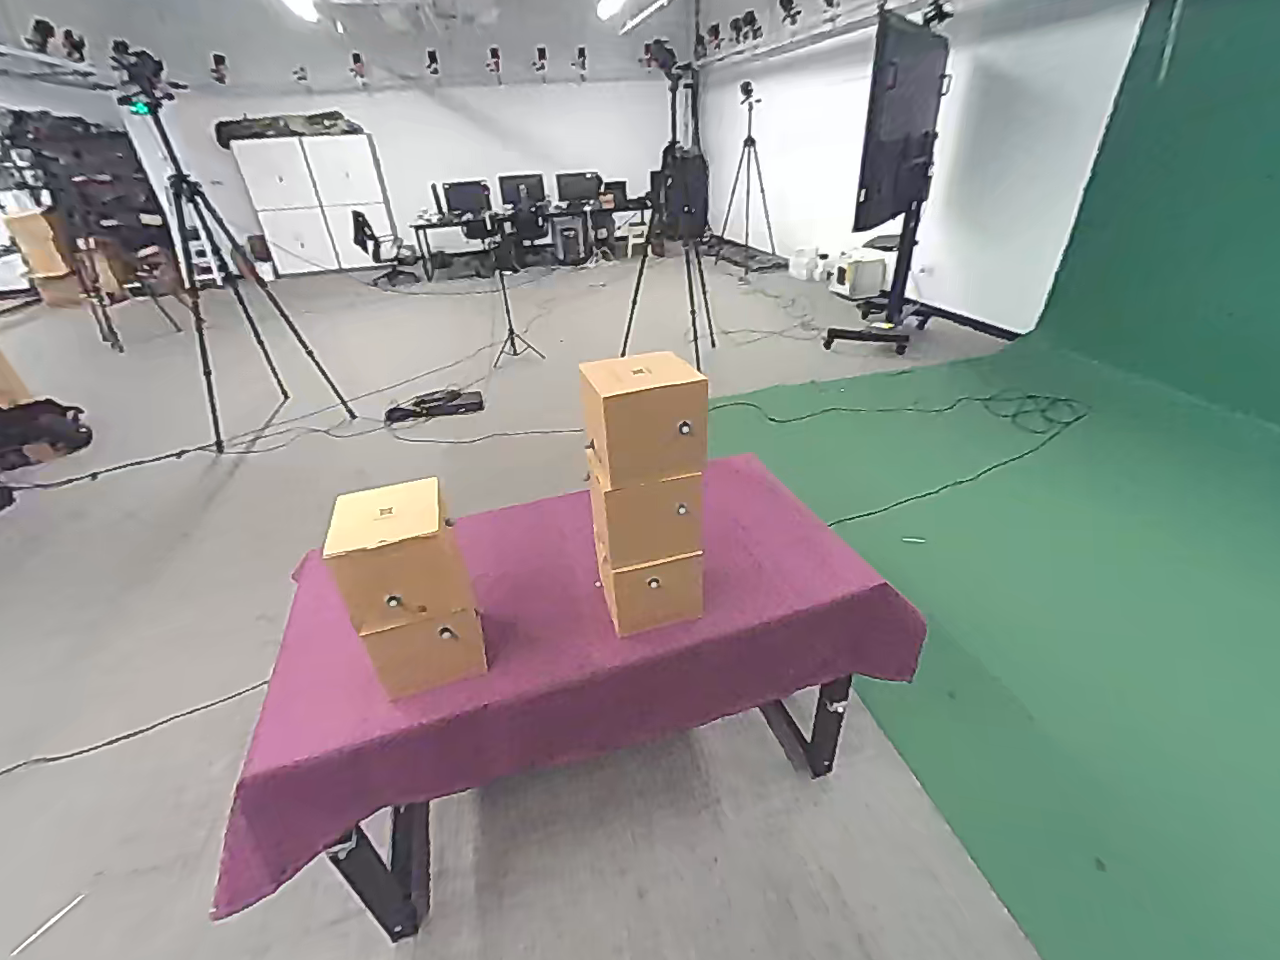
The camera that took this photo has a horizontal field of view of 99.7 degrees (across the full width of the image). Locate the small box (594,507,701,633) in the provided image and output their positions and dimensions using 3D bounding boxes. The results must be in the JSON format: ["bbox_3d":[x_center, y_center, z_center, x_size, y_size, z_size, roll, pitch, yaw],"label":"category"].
[{"bbox_3d":[0.016,0.182,1.088,0.179,0.176,0.168,-11,33,-12],"label":"small box"}]

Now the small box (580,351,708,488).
[{"bbox_3d":[0.004,-0.106,0.931,0.179,0.176,0.168,-12,32,-14],"label":"small box"}]

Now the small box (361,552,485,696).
[{"bbox_3d":[-0.390,0.264,1.000,0.179,0.176,0.168,-12,32,-14],"label":"small box"}]

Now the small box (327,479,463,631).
[{"bbox_3d":[-0.403,0.123,0.918,0.168,0.176,0.179,-12,34,-14],"label":"small box"}]
